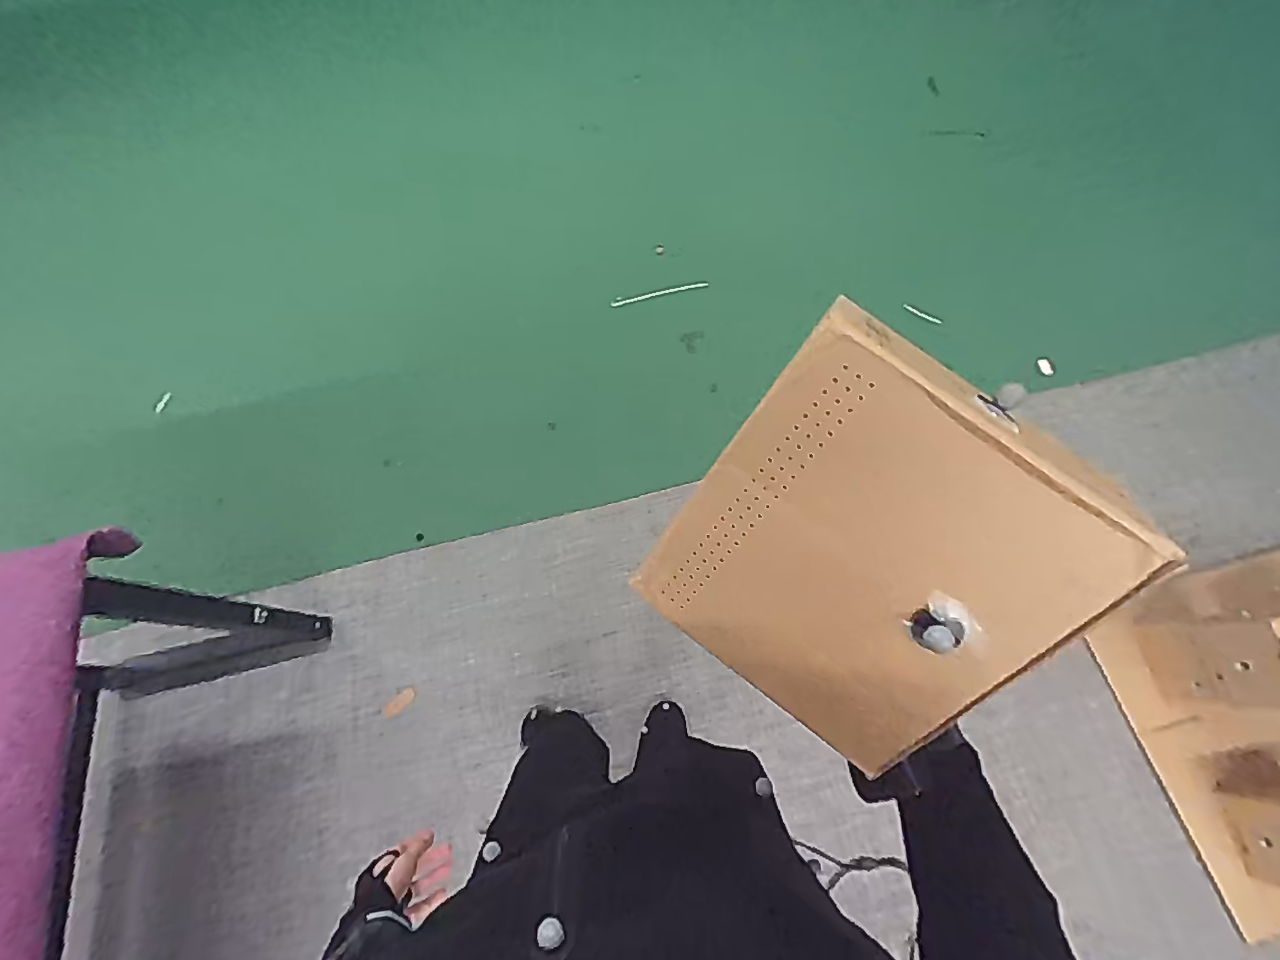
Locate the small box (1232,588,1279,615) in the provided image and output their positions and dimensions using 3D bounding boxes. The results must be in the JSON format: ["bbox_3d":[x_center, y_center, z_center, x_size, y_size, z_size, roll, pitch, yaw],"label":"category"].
[{"bbox_3d":[1.524,0.337,1.214,0.168,0.176,0.179,-28,72,-7],"label":"small box"}]

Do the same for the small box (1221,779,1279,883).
[{"bbox_3d":[1.340,0.712,1.081,0.179,0.176,0.168,-7,70,0],"label":"small box"}]

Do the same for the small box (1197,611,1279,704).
[{"bbox_3d":[1.258,0.342,1.052,0.179,0.176,0.168,-6,71,1],"label":"small box"}]
